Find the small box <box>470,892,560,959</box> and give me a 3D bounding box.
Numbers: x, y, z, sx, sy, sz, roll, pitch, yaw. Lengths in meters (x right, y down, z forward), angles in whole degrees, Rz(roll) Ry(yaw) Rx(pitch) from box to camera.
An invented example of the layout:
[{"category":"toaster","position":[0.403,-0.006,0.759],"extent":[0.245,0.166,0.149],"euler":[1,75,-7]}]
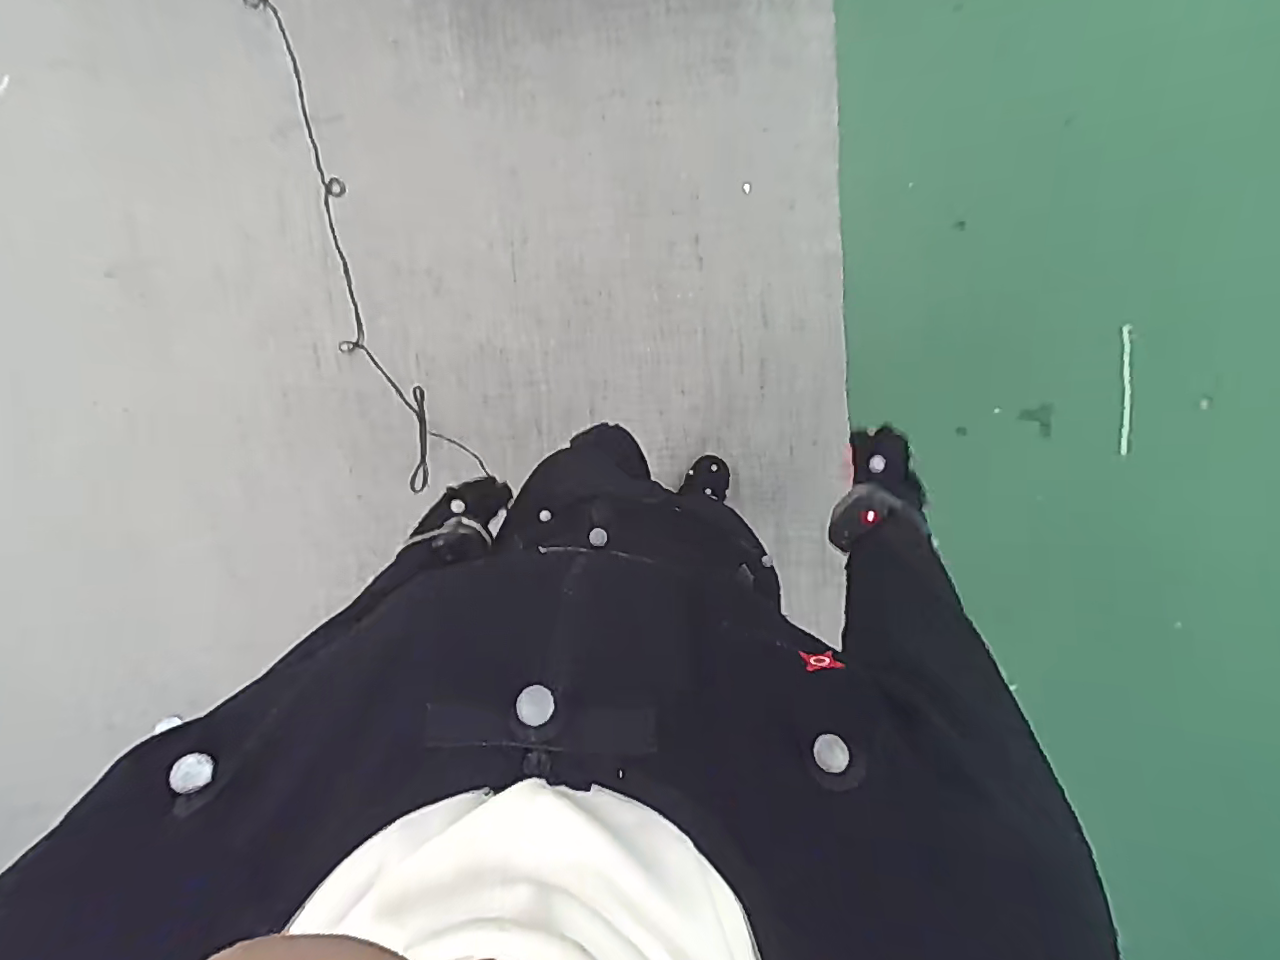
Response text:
[{"category":"small box","position":[-0.295,1.149,1.309],"extent":[0.168,0.176,0.179],"euler":[-5,93,3]}]
